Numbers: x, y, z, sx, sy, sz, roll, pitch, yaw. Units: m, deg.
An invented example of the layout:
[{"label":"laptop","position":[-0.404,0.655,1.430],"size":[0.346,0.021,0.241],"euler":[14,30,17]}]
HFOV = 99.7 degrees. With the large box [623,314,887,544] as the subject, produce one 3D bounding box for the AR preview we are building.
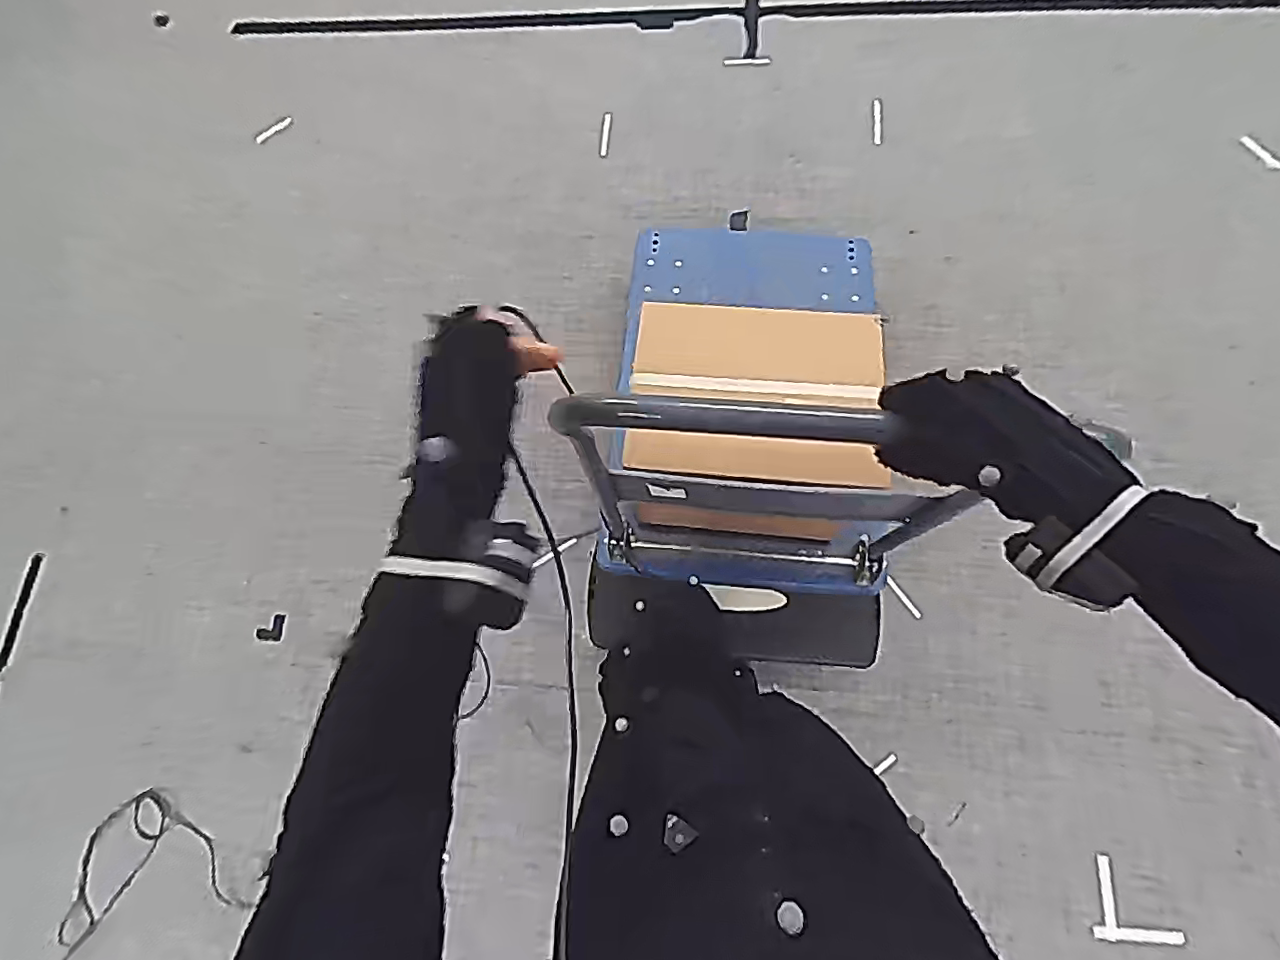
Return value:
[{"label":"large box","position":[0.188,-0.079,1.002],"size":[0.408,0.320,0.320],"euler":[5,70,4]}]
